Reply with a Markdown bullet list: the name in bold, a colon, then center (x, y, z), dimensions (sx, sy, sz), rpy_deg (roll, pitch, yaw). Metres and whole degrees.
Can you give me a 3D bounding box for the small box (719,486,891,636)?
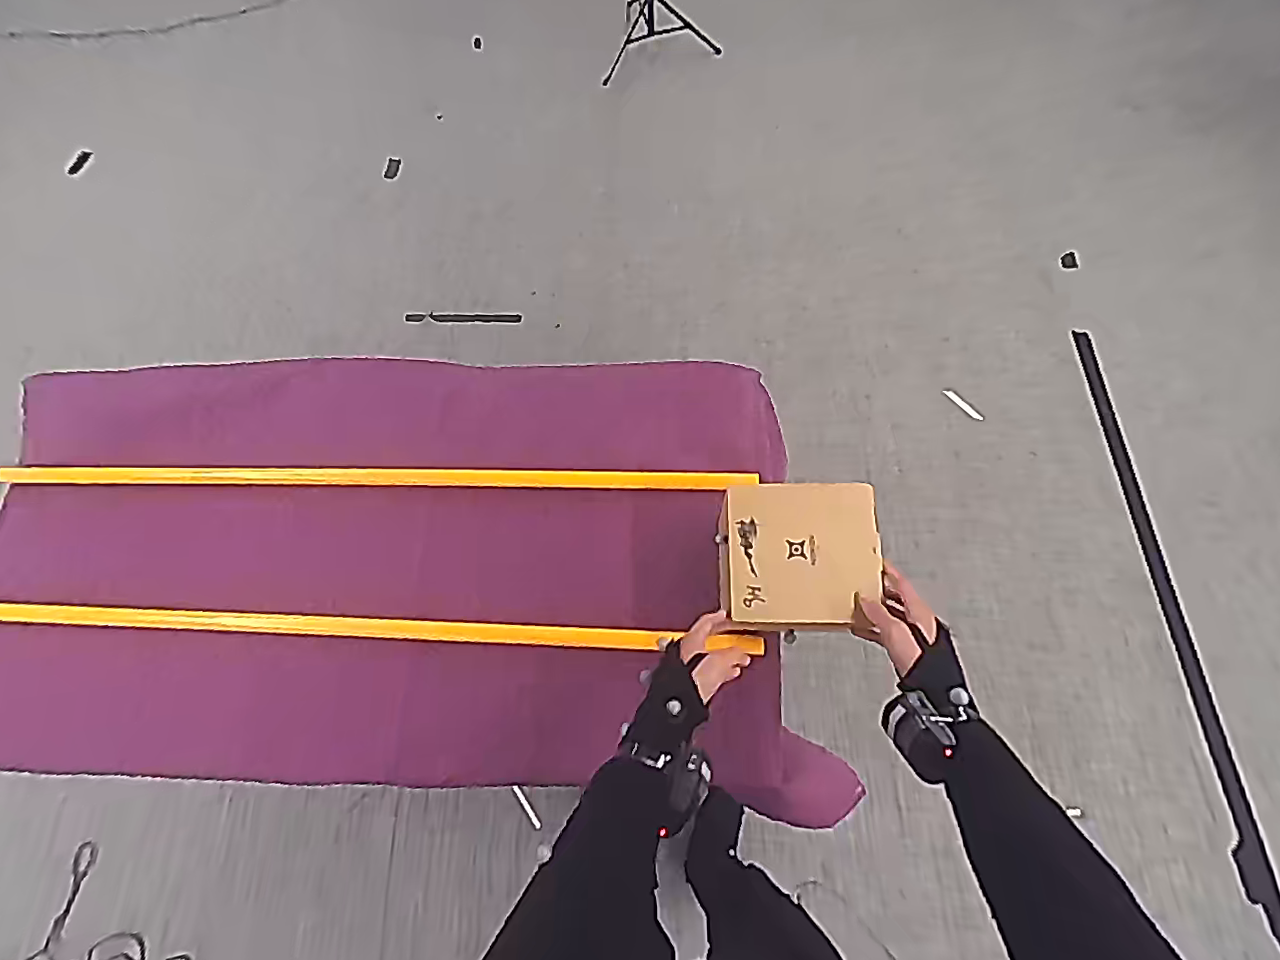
- **small box**: center (0.197, 0.111, 0.699), dimensions (0.179, 0.176, 0.168), rpy_deg (0, 71, 4)
